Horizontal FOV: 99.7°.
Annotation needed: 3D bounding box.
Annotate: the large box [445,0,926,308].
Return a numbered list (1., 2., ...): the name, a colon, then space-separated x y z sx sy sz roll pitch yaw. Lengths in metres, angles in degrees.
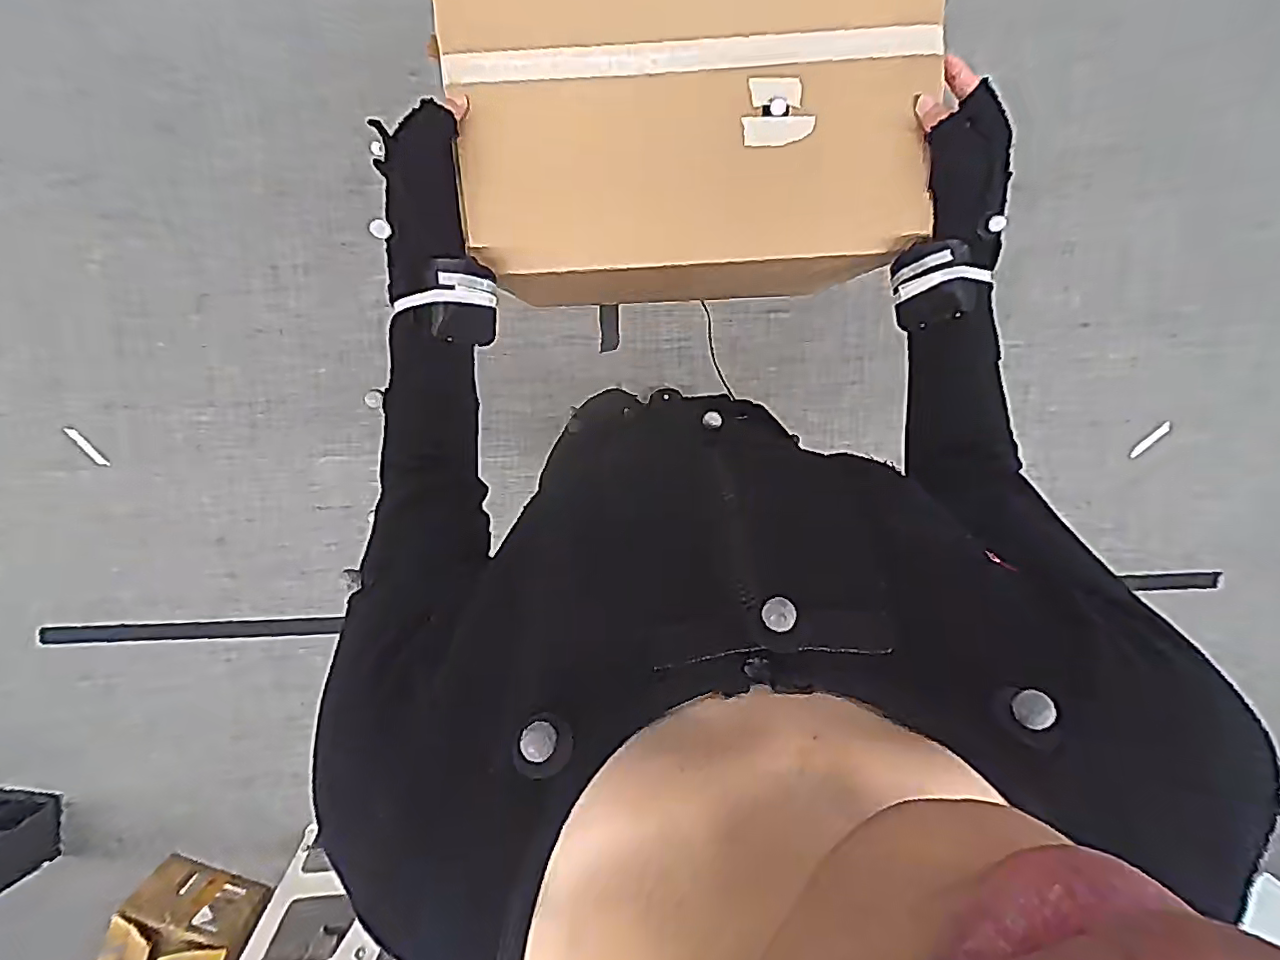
1. large box: 0.037 -0.379 0.601 0.408 0.320 0.320 -4 103 -1
